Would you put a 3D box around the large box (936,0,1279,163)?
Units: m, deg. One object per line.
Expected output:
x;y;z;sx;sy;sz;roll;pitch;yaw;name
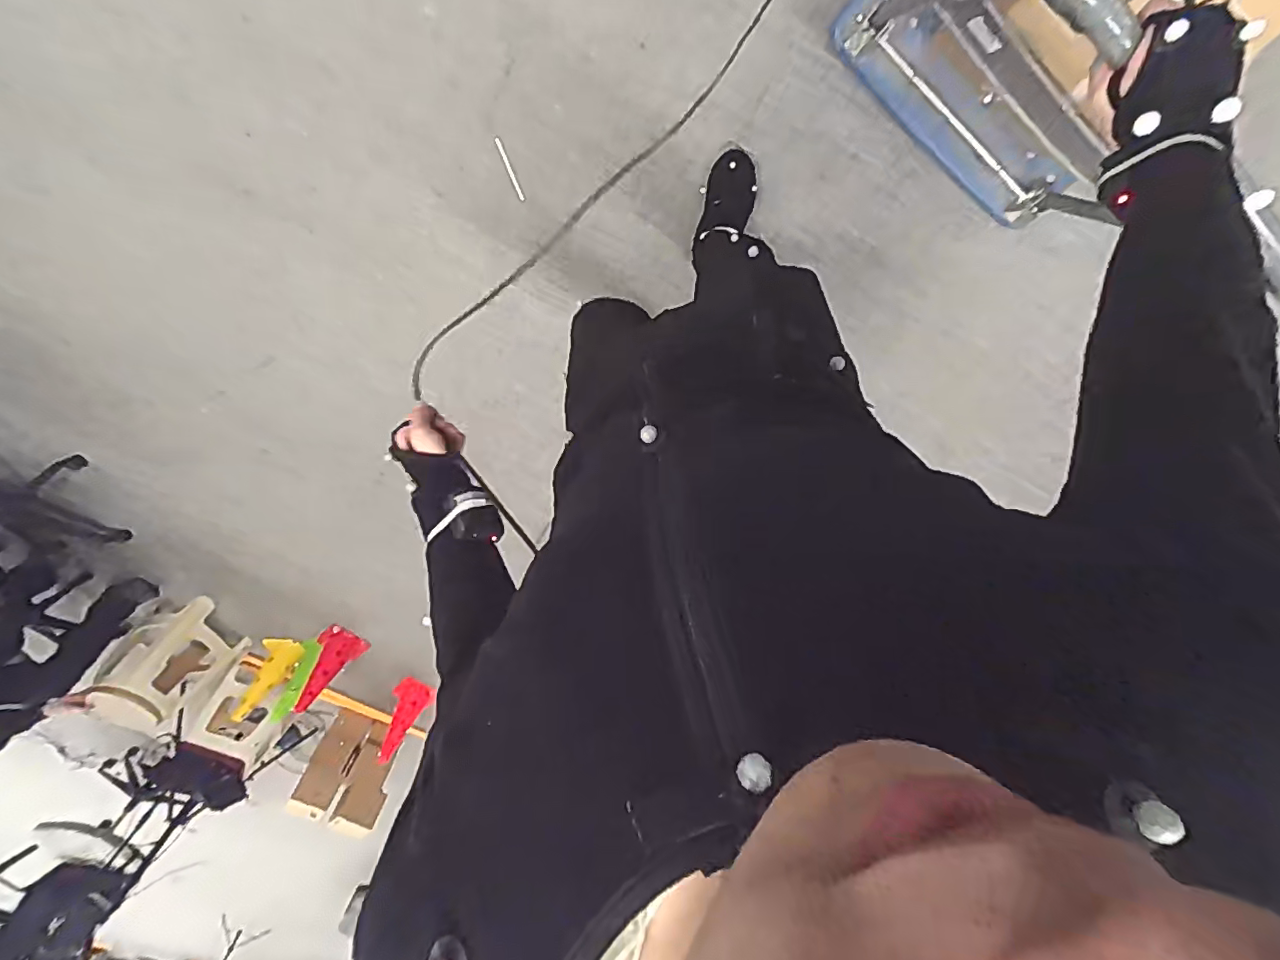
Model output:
0.755;-0.765;0.806;0.320;0.320;0.408;33;121;-16;large box
